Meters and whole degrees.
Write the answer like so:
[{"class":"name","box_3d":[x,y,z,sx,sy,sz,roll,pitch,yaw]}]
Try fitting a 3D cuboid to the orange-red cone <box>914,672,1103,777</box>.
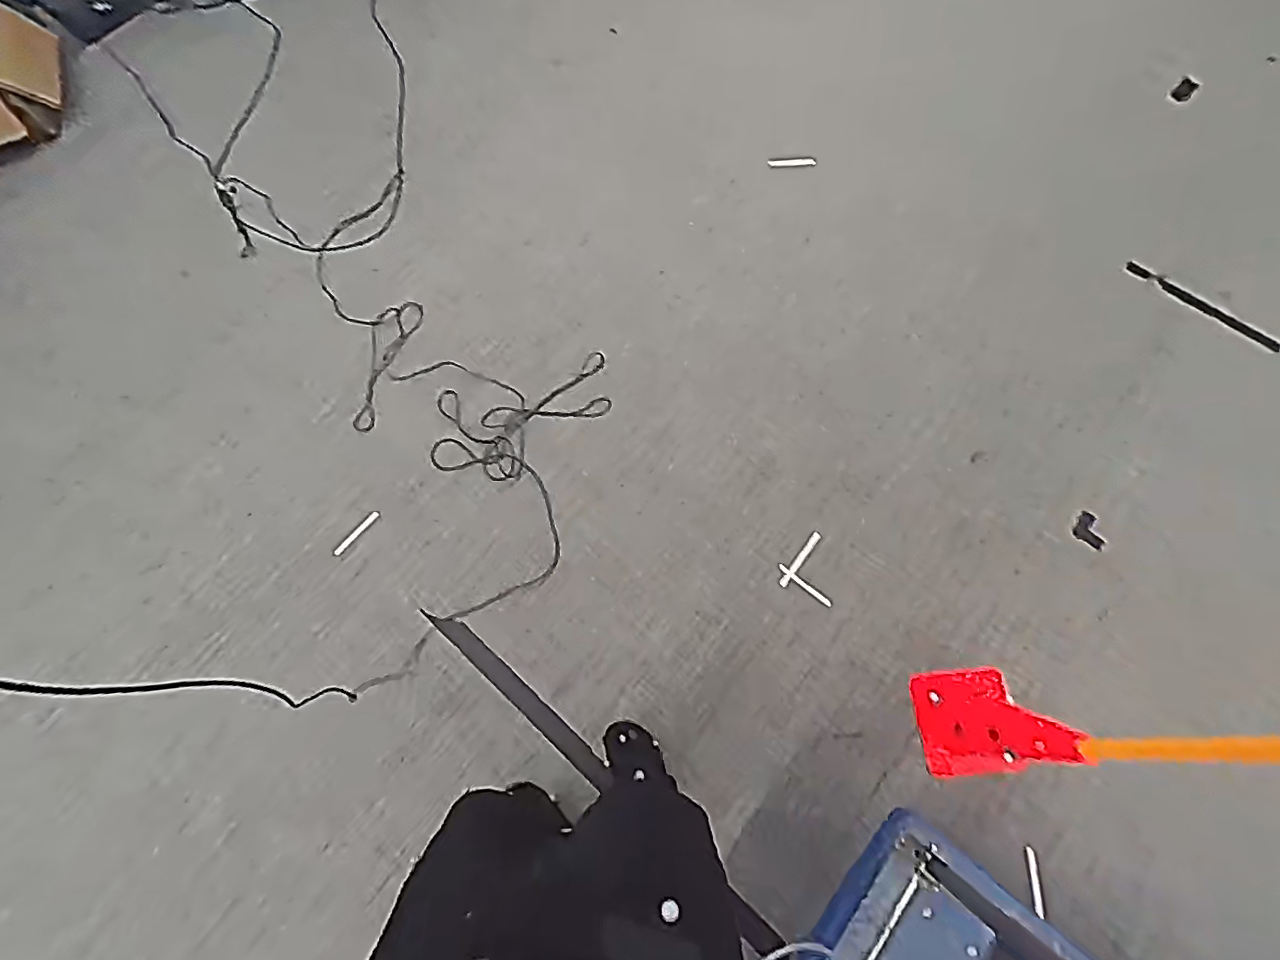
[{"class":"orange-red cone","box_3d":[0.672,0.455,0.958,0.198,0.360,0.199,-5,73,3]}]
